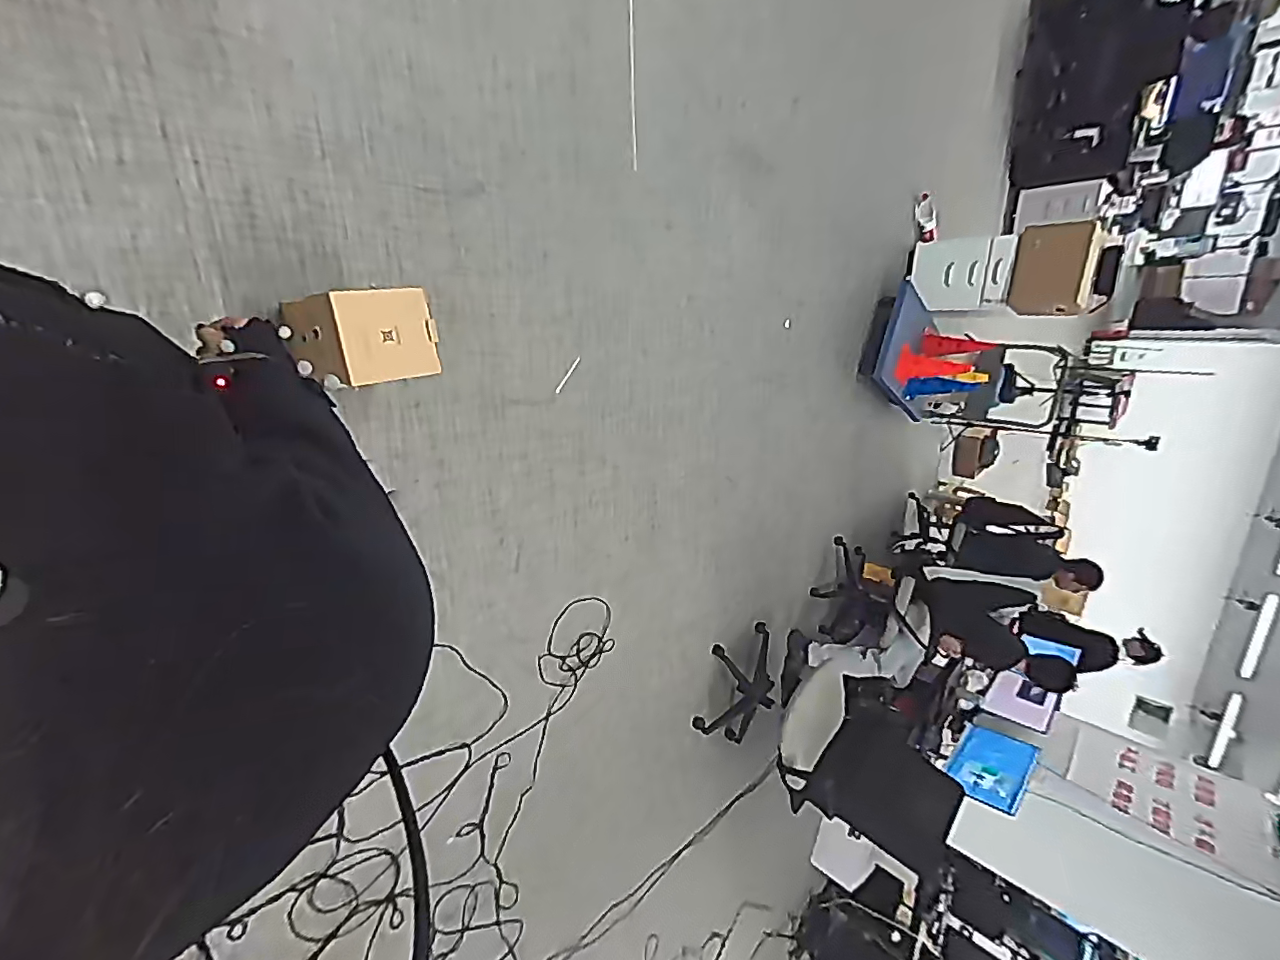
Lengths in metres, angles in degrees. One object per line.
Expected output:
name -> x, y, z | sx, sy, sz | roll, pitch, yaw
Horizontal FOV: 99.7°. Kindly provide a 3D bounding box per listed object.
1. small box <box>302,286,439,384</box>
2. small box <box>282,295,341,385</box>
small box -> -0.526, -0.288, 1.060 | 0.179, 0.176, 0.168 | -23, 115, -40
small box -> -0.645, -0.307, 1.170 | 0.168, 0.176, 0.179 | -22, 116, -41
